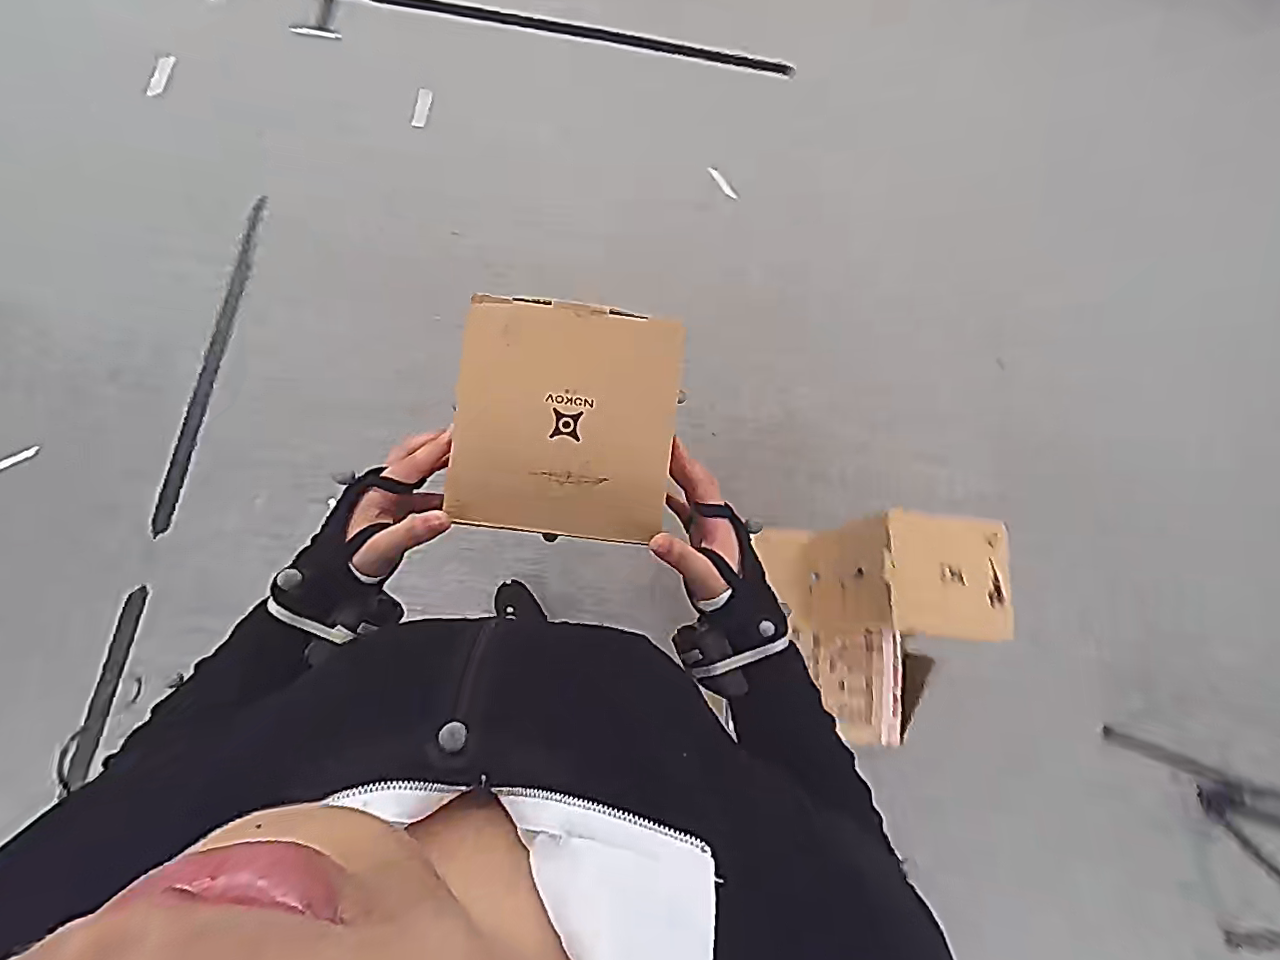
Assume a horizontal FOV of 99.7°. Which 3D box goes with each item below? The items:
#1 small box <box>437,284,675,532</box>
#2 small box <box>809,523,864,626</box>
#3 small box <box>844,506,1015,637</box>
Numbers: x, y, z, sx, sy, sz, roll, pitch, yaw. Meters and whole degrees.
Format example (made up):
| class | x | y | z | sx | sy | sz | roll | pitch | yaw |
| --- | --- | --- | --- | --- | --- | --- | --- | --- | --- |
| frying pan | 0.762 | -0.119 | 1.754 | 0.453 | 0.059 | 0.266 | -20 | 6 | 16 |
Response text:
| class | x | y | z | sx | sy | sz | roll | pitch | yaw |
| --- | --- | --- | --- | --- | --- | --- | --- | --- | --- |
| small box | -0.068 | -0.052 | 0.490 | 0.168 | 0.176 | 0.179 | 6 | 88 | -4 |
| small box | 0.426 | 0.180 | 0.988 | 0.179 | 0.176 | 0.168 | 6 | 75 | -2 |
| small box | 0.426 | 0.145 | 0.826 | 0.179 | 0.176 | 0.168 | 7 | 76 | -1 |
